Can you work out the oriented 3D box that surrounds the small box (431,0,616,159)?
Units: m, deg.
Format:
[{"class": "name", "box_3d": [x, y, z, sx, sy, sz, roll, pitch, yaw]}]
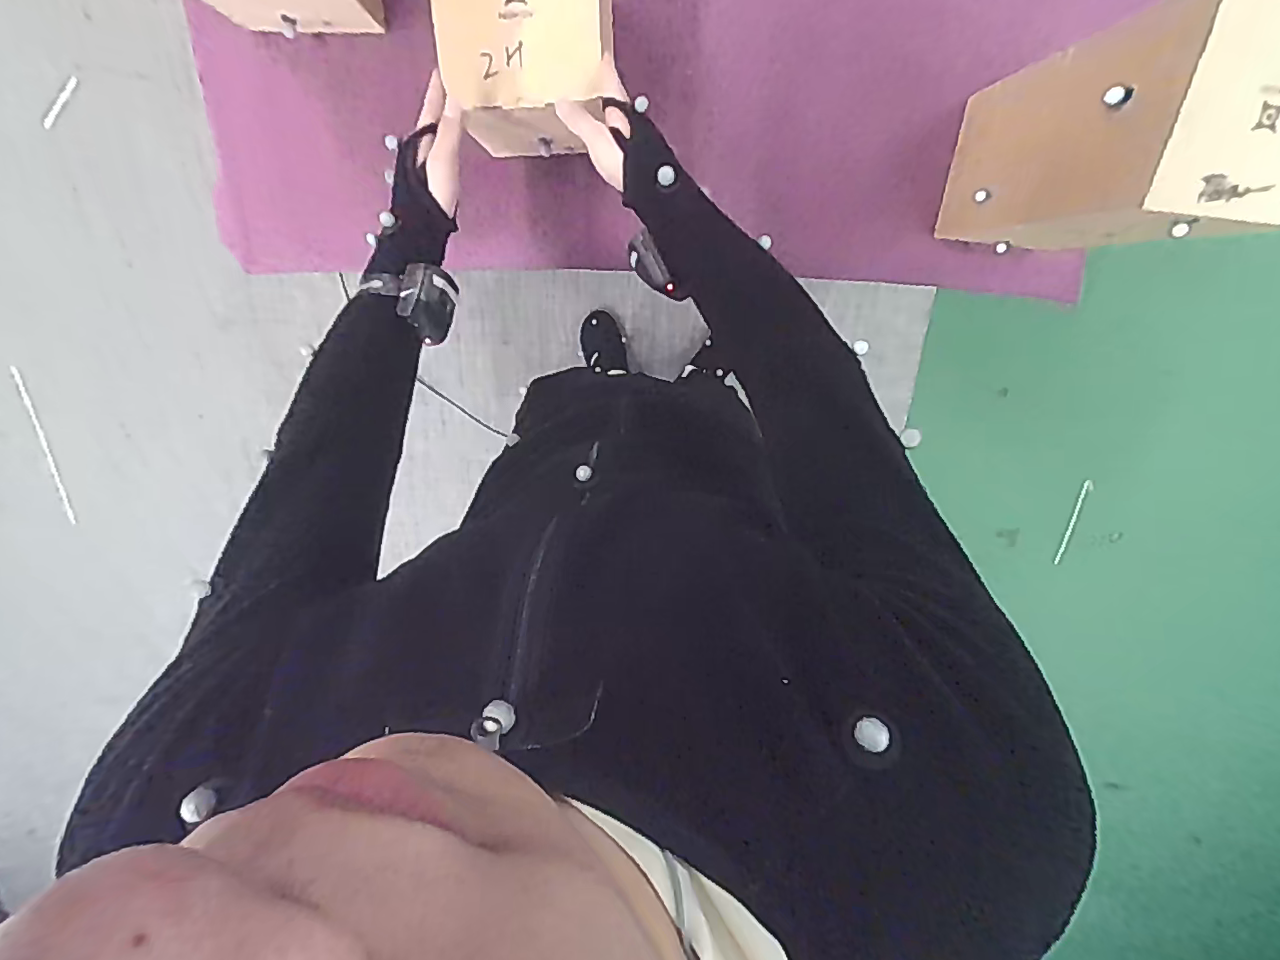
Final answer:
[{"class": "small box", "box_3d": [-0.117, -0.481, 0.601, 0.168, 0.176, 0.179, -1, 106, 4]}]

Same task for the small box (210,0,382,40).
[{"class": "small box", "box_3d": [-0.392, -0.596, 0.559, 0.168, 0.176, 0.179, -1, 112, -2]}]

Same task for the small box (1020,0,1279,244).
[{"class": "small box", "box_3d": [0.520, -0.339, 0.527, 0.168, 0.176, 0.179, 5, 109, -3]}]
